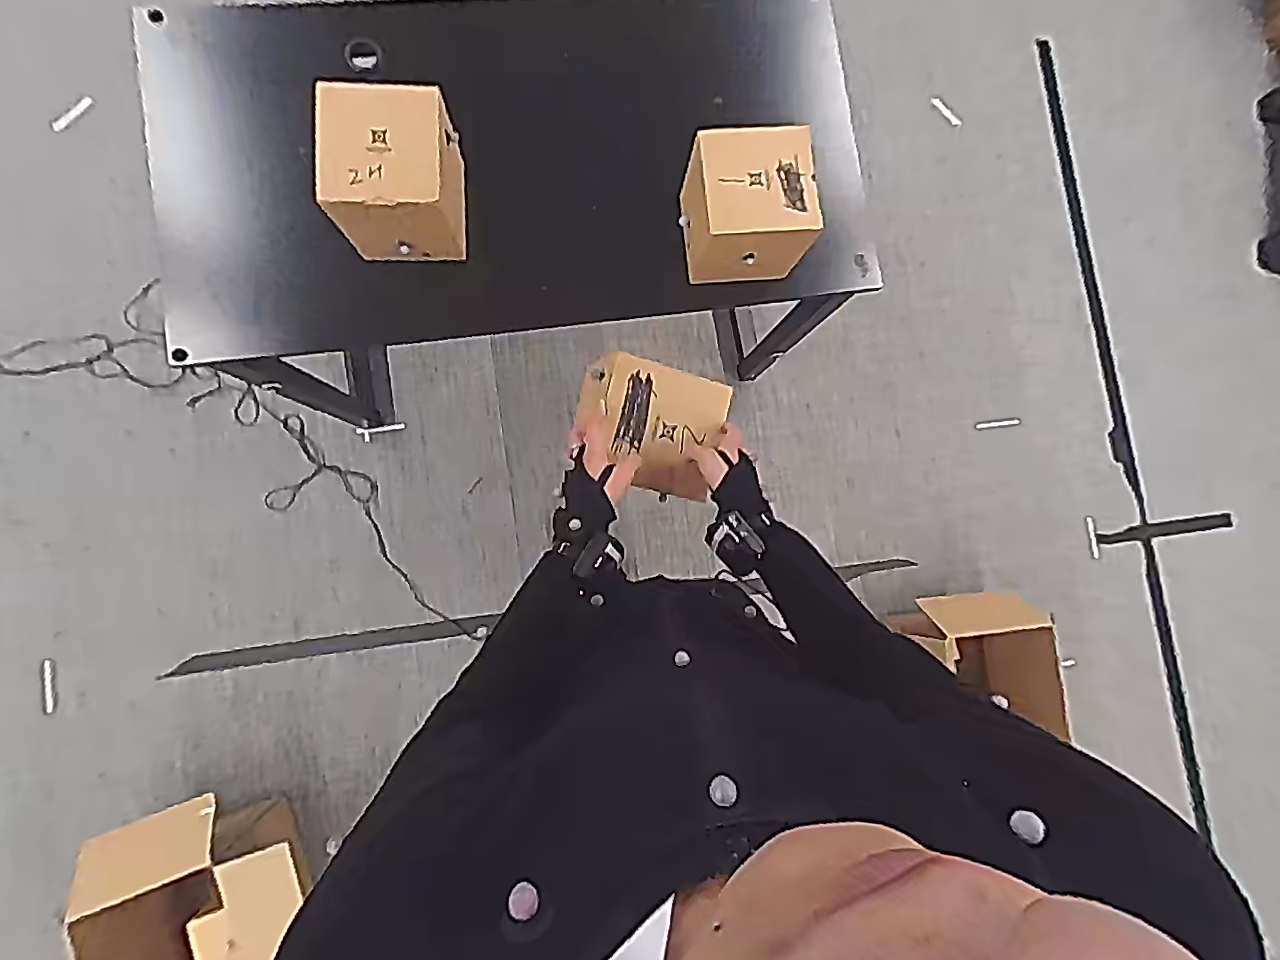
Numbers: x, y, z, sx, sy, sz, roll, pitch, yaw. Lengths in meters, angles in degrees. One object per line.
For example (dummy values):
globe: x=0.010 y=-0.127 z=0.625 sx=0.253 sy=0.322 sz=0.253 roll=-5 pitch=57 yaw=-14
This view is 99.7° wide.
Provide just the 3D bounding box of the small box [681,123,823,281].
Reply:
small box: x=0.172 y=-0.439 z=0.876 sx=0.179 sy=0.176 sz=0.168 roll=-6 pitch=86 yaw=-5

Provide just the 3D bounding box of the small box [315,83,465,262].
small box: x=-0.369 y=-0.456 z=0.824 sx=0.168 sy=0.176 sz=0.179 roll=-2 pitch=86 yaw=-6
